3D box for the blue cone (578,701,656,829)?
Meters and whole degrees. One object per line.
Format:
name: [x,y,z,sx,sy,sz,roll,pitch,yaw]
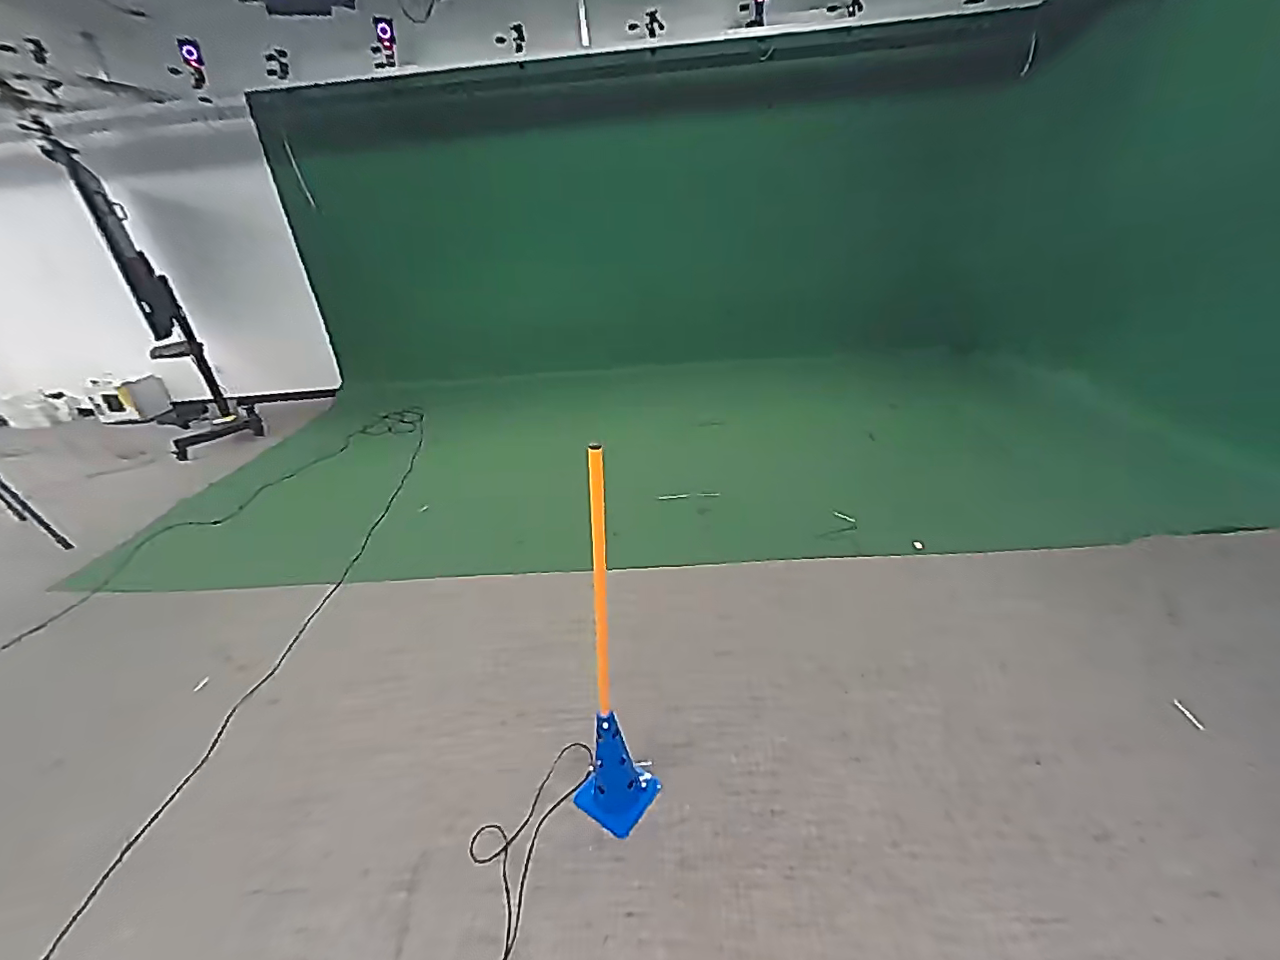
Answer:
blue cone: [-0.079,0.761,1.518,0.192,0.380,0.193,15,32,31]
